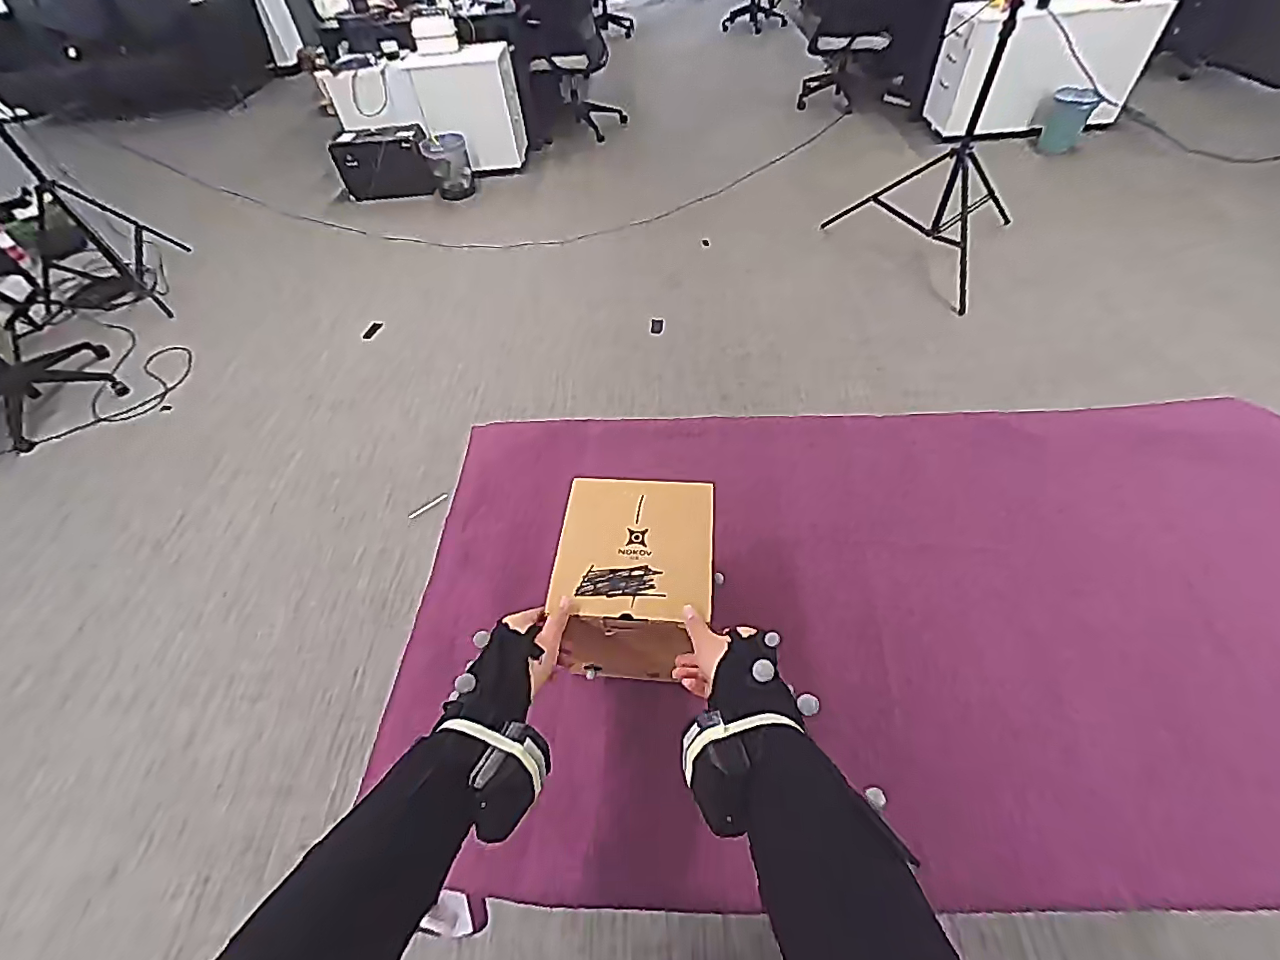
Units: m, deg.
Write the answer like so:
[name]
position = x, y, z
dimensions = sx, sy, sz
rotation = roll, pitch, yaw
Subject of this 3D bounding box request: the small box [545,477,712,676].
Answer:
[small box]
position = -0.001, 0.117, 0.640
dimensions = 0.168, 0.176, 0.179
rotation = 2, 51, 6
